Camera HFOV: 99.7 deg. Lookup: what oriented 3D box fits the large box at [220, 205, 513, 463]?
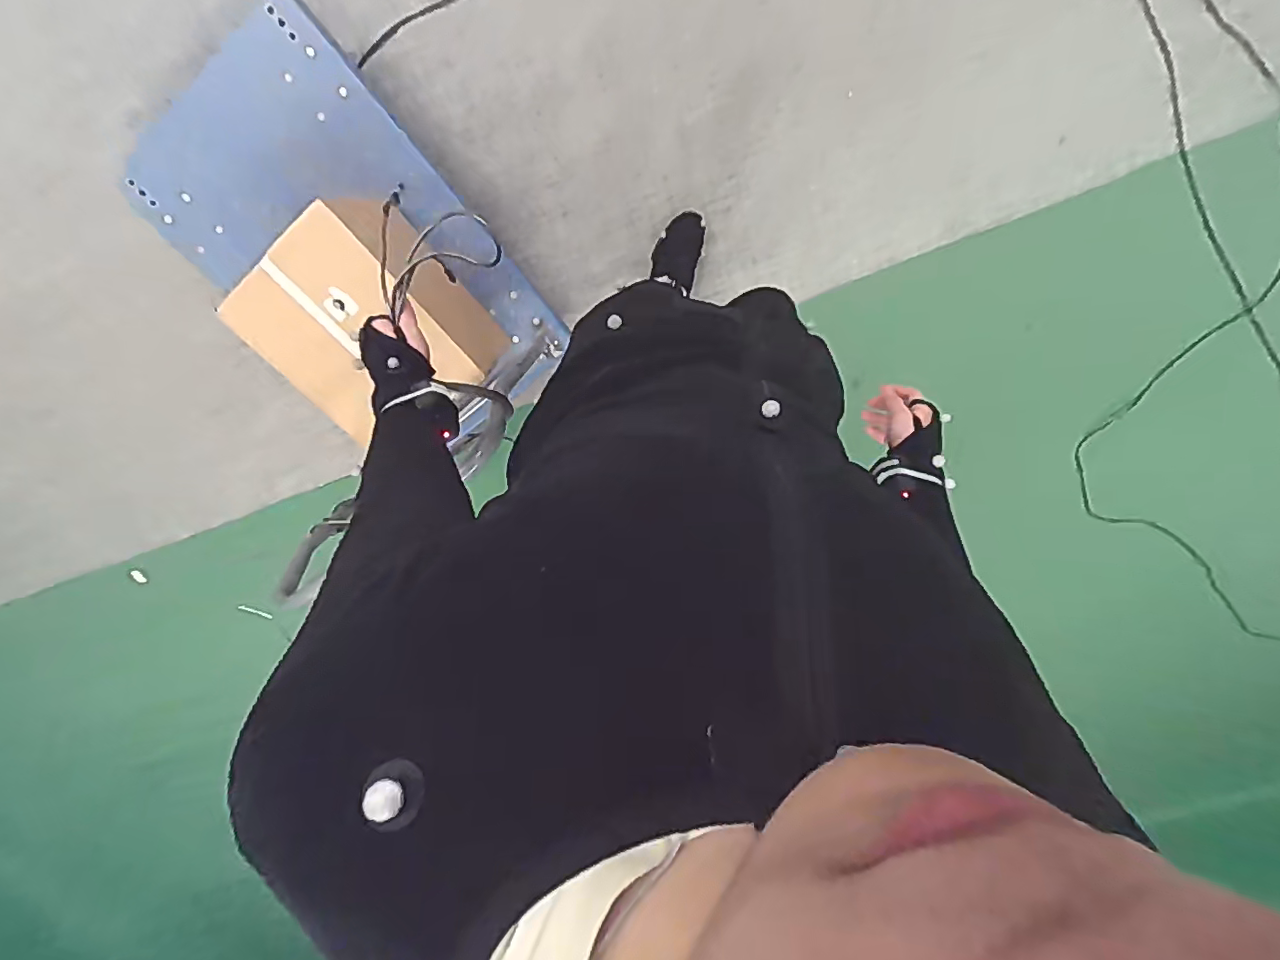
[{"bbox_3d":[-0.545,-0.319,1.169,0.320,0.320,0.408,-35,112,14],"label":"large box"}]
